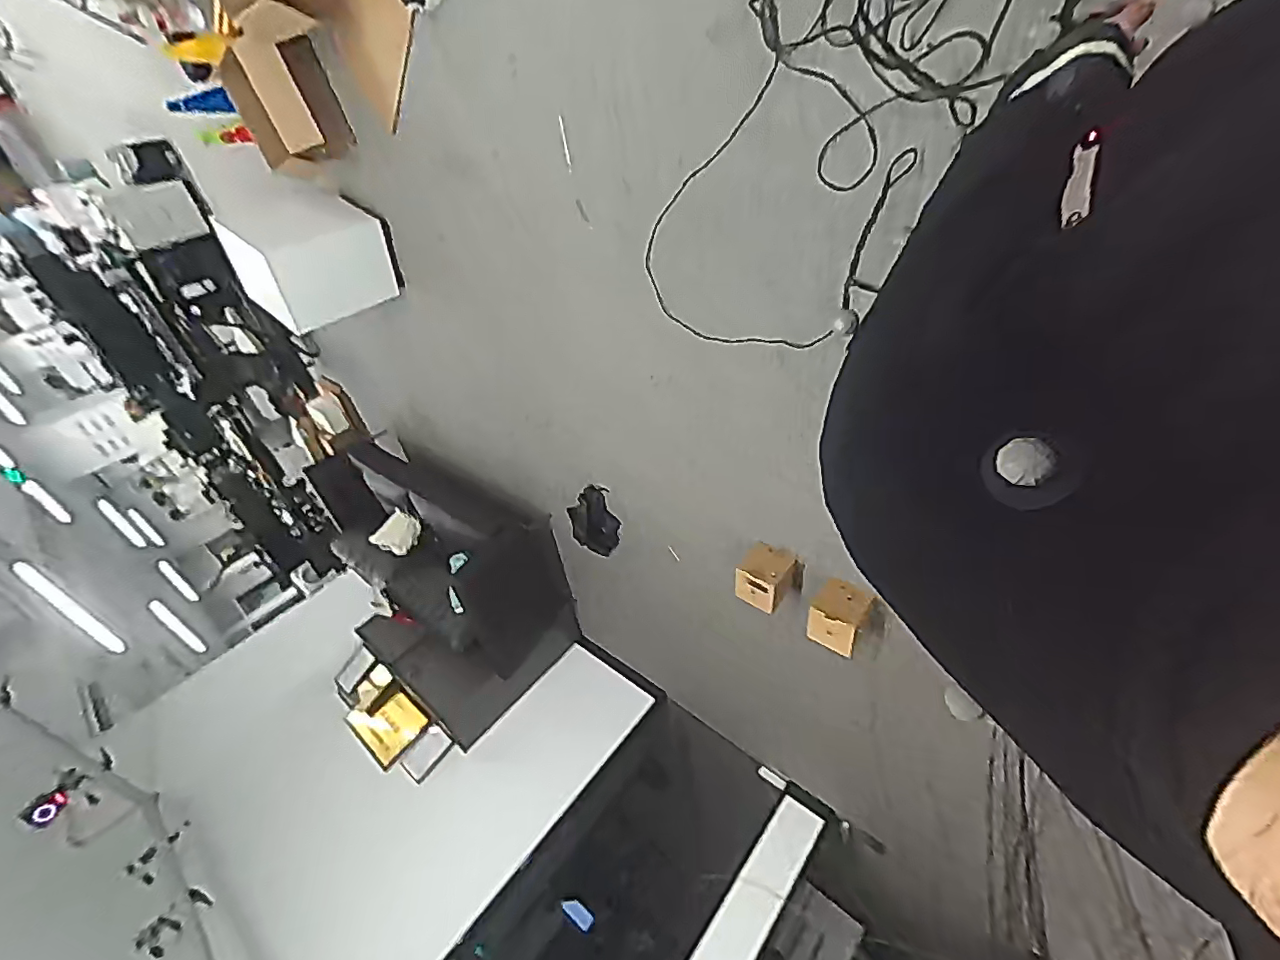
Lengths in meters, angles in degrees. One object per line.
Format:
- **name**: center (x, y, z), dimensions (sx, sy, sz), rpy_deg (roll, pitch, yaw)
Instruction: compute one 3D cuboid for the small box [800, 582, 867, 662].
- **small box**: center (0.690, 0.502, 1.929), dimensions (0.168, 0.176, 0.179), rpy_deg (23, 137, 36)
